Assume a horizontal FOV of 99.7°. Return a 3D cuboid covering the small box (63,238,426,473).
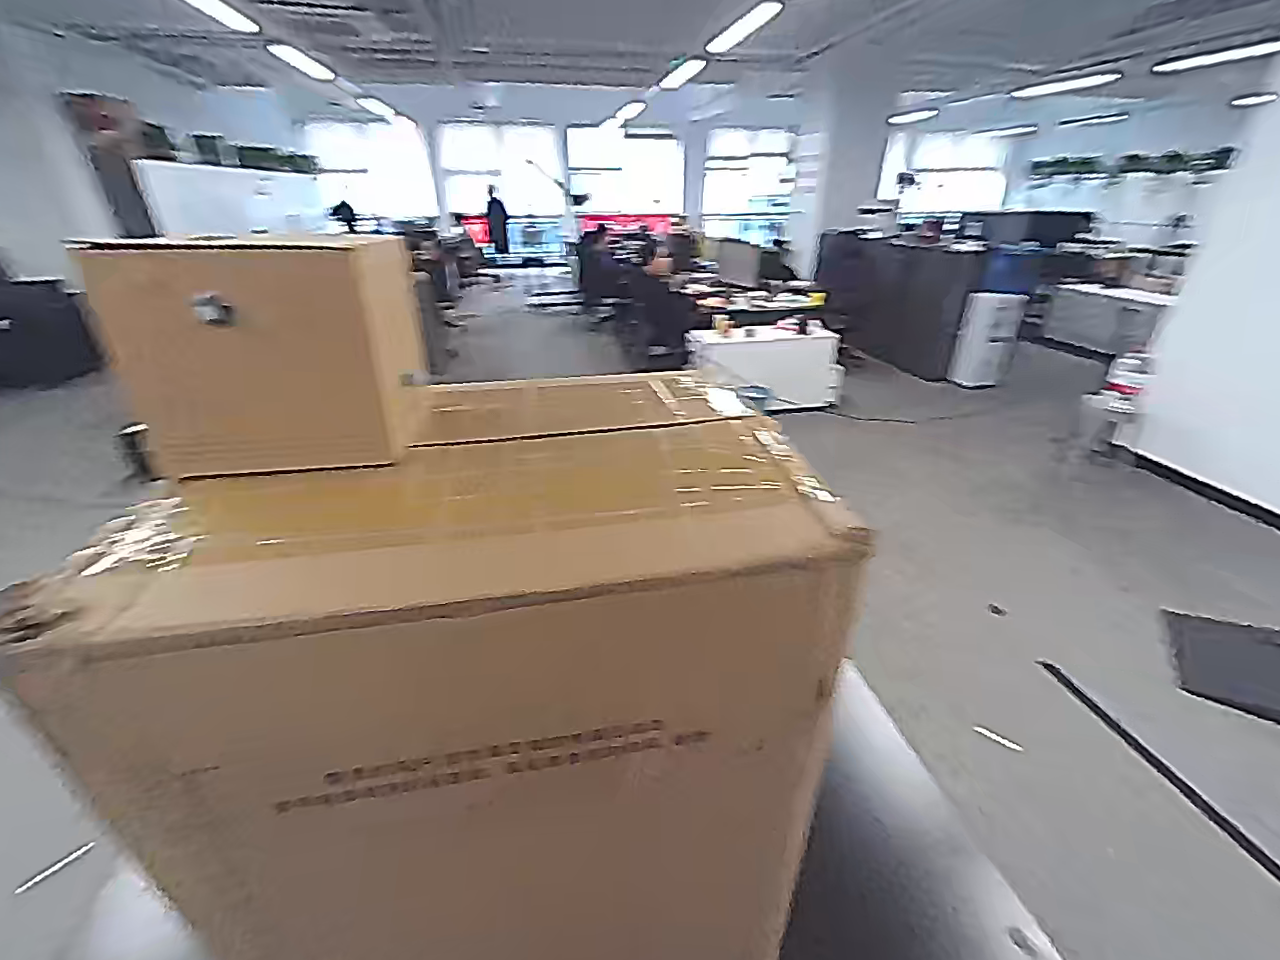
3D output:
[{"bbox_3d":[-0.299,-0.112,0.462,0.179,0.176,0.168,-4,26,-10],"label":"small box"}]
